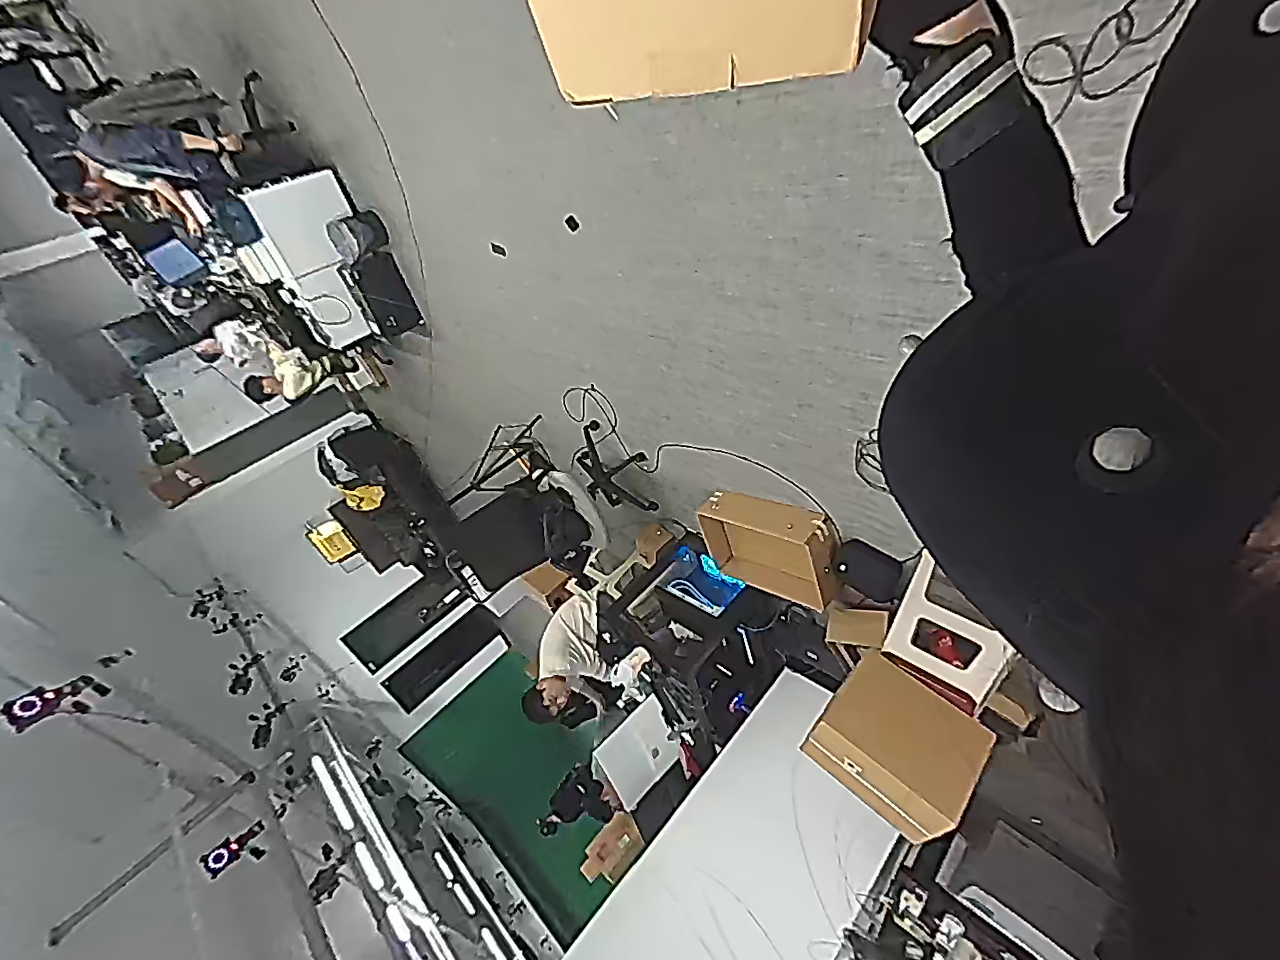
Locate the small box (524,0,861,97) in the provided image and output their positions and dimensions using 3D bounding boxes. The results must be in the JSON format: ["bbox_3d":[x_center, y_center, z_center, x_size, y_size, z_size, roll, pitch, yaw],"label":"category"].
[{"bbox_3d":[0.023,-0.317,0.239,0.168,0.179,0.176,11,157,22],"label":"small box"}]
